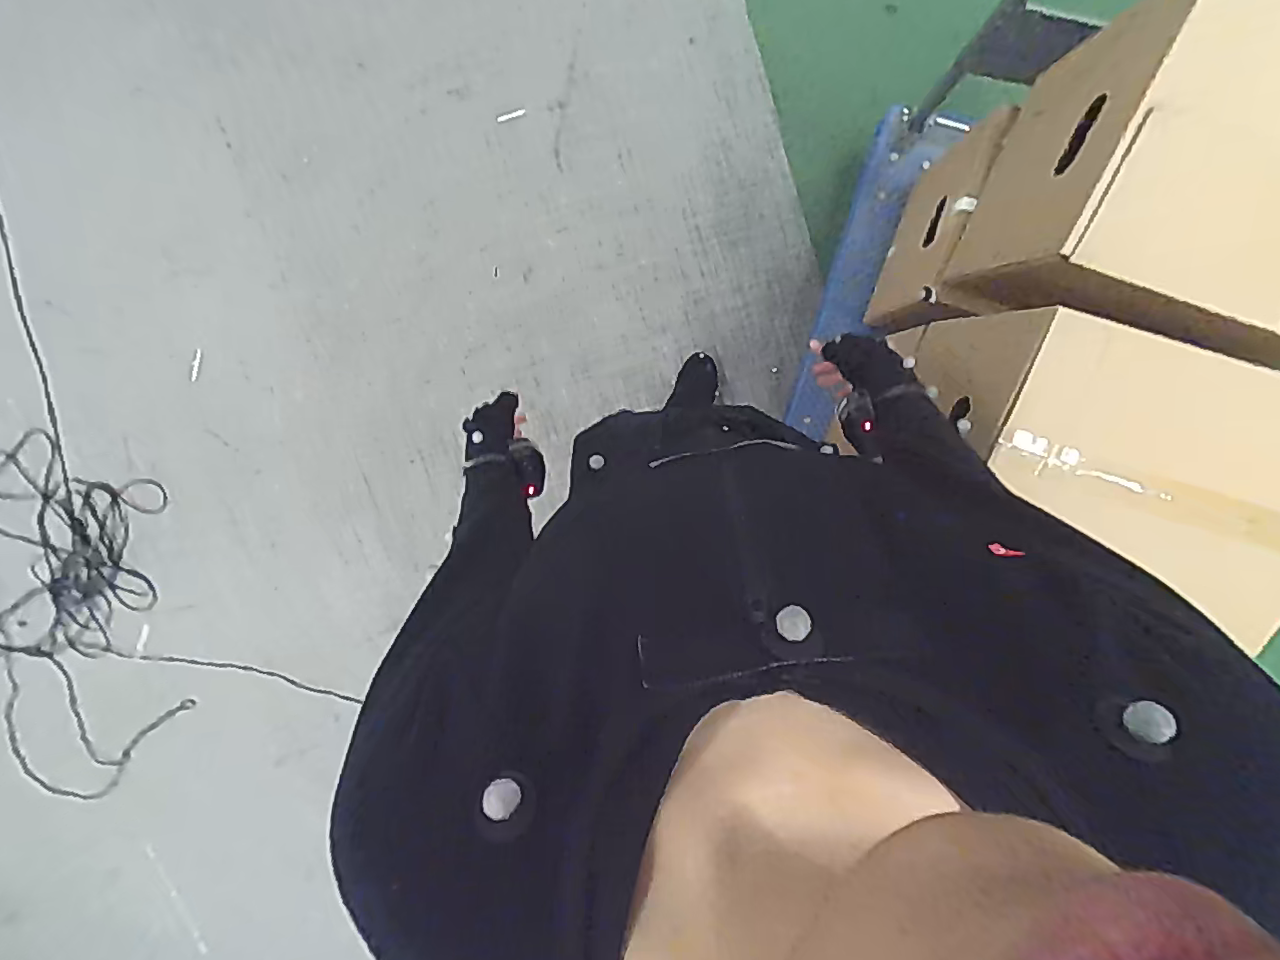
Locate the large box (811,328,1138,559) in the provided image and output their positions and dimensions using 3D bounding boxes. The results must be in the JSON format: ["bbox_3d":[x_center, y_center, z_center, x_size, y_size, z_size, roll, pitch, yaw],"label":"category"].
[{"bbox_3d":[0.612,-0.080,1.074,0.408,0.320,0.320,17,98,3],"label":"large box"}]
